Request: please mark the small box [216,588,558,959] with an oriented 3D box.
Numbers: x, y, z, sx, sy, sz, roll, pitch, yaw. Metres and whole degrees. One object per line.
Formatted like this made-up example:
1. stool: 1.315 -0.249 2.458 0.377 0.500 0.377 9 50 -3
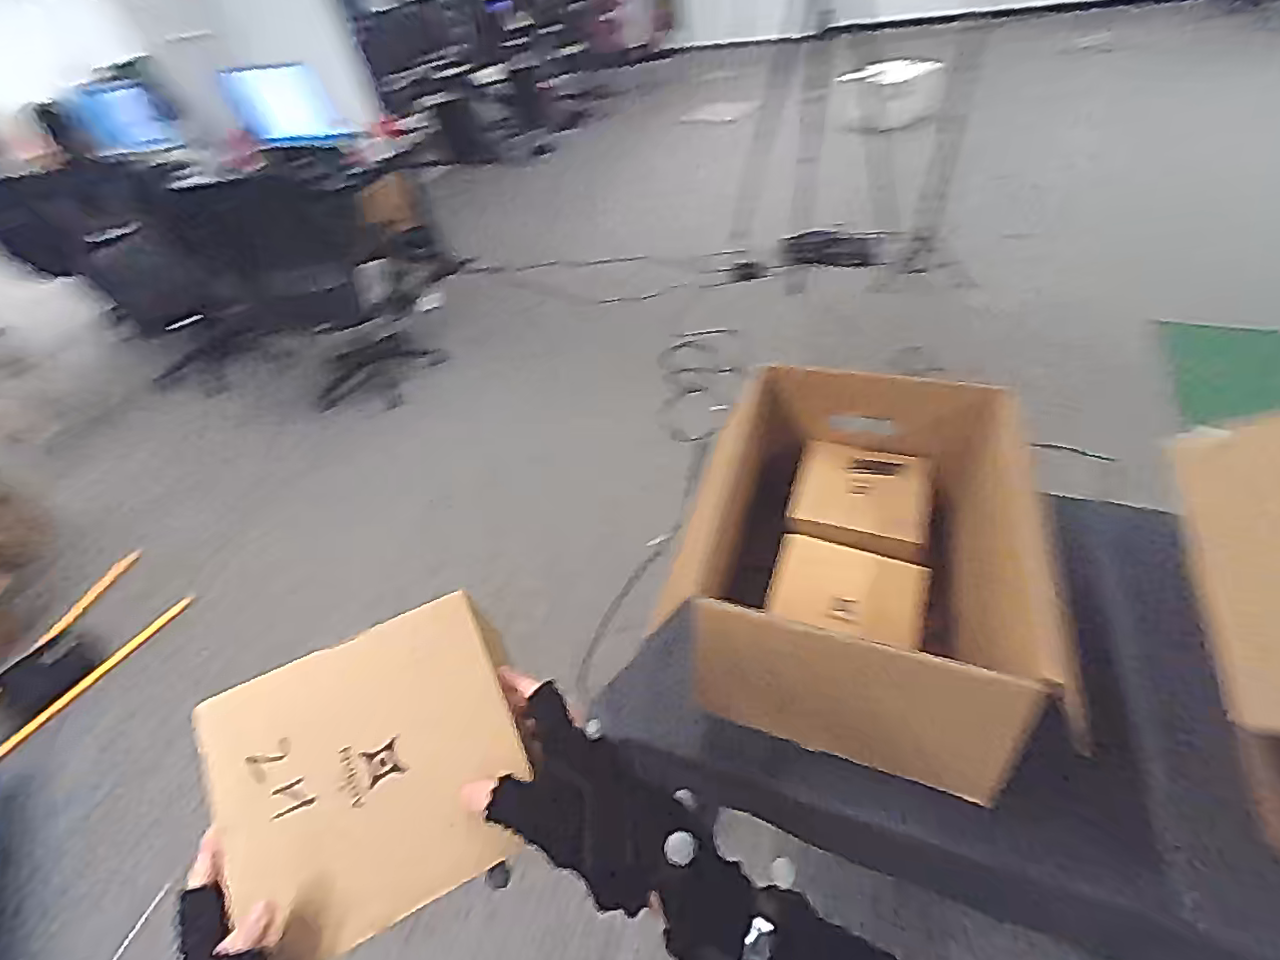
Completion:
1. small box: -0.170 0.204 0.413 0.179 0.176 0.168 -20 69 -14
